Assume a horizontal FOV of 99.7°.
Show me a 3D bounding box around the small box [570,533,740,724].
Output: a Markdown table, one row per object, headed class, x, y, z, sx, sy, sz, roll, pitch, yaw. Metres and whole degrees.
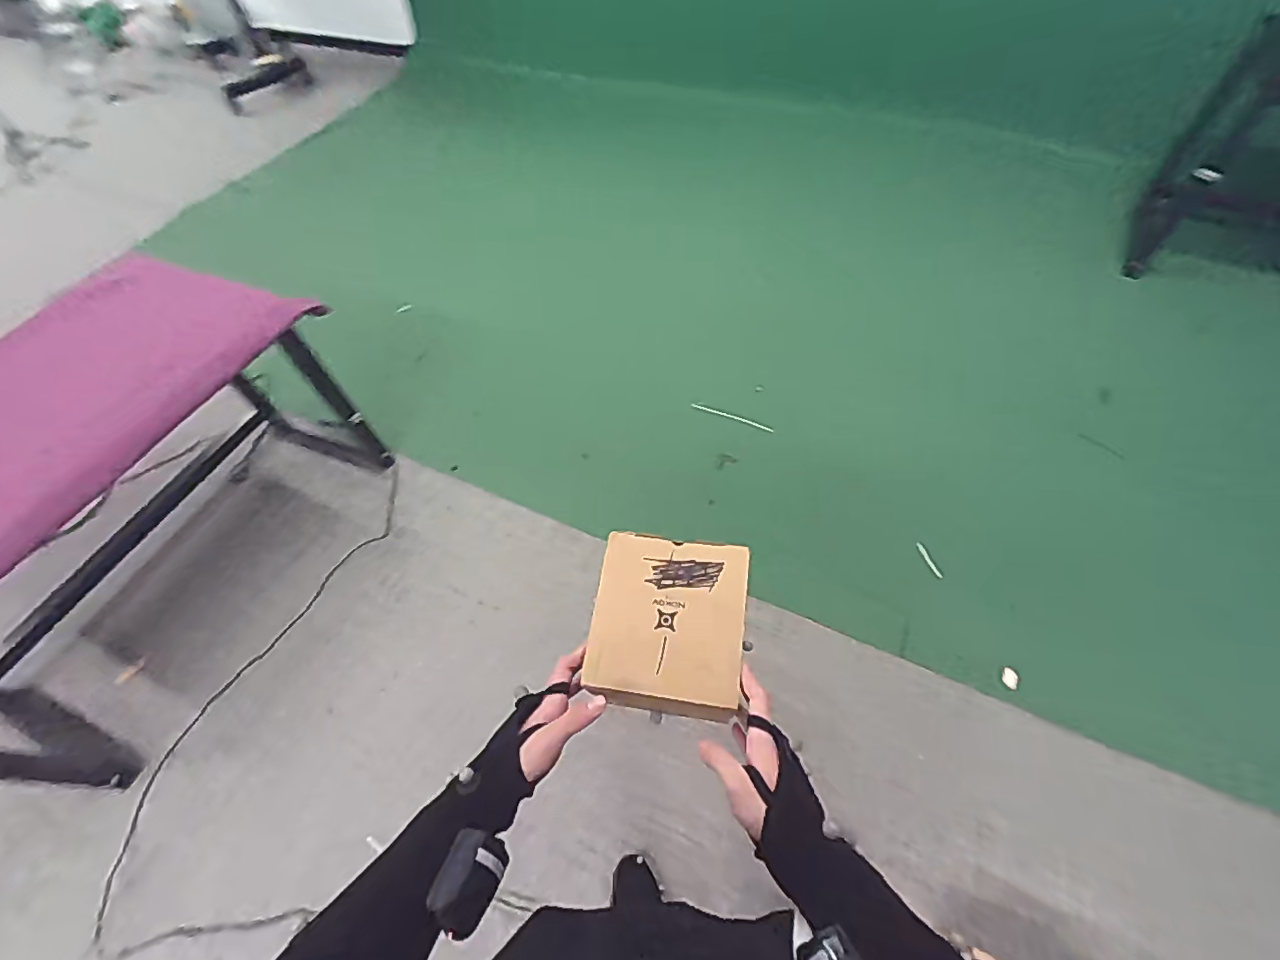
| class | x | y | z | sx | sy | sz | roll | pitch | yaw |
| --- | --- | --- | --- | --- | --- | --- | --- | --- | --- |
| small box | 0.026 | 0.184 | 0.658 | 0.168 | 0.176 | 0.179 | 6 | 63 | 9 |
